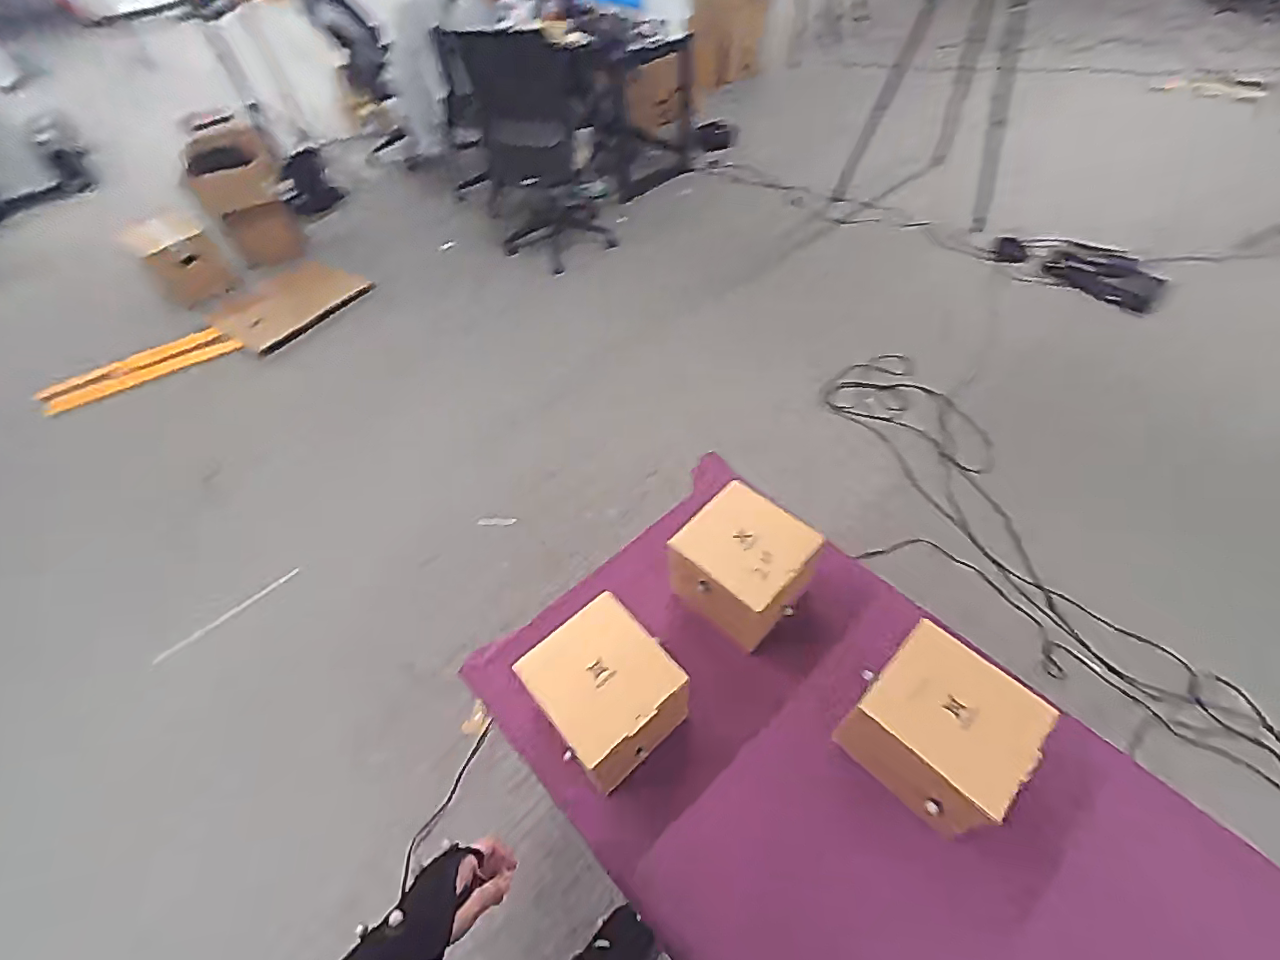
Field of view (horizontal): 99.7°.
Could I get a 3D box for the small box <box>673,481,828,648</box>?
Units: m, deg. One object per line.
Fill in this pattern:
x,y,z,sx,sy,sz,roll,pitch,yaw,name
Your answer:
0.170,0.141,0.883,0.168,0.176,0.179,-39,59,-23,small box

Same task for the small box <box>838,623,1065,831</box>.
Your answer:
0.396,0.332,0.718,0.168,0.176,0.179,-38,57,-23,small box

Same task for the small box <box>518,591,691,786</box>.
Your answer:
-0.047,0.300,0.775,0.168,0.176,0.179,-35,58,-23,small box
